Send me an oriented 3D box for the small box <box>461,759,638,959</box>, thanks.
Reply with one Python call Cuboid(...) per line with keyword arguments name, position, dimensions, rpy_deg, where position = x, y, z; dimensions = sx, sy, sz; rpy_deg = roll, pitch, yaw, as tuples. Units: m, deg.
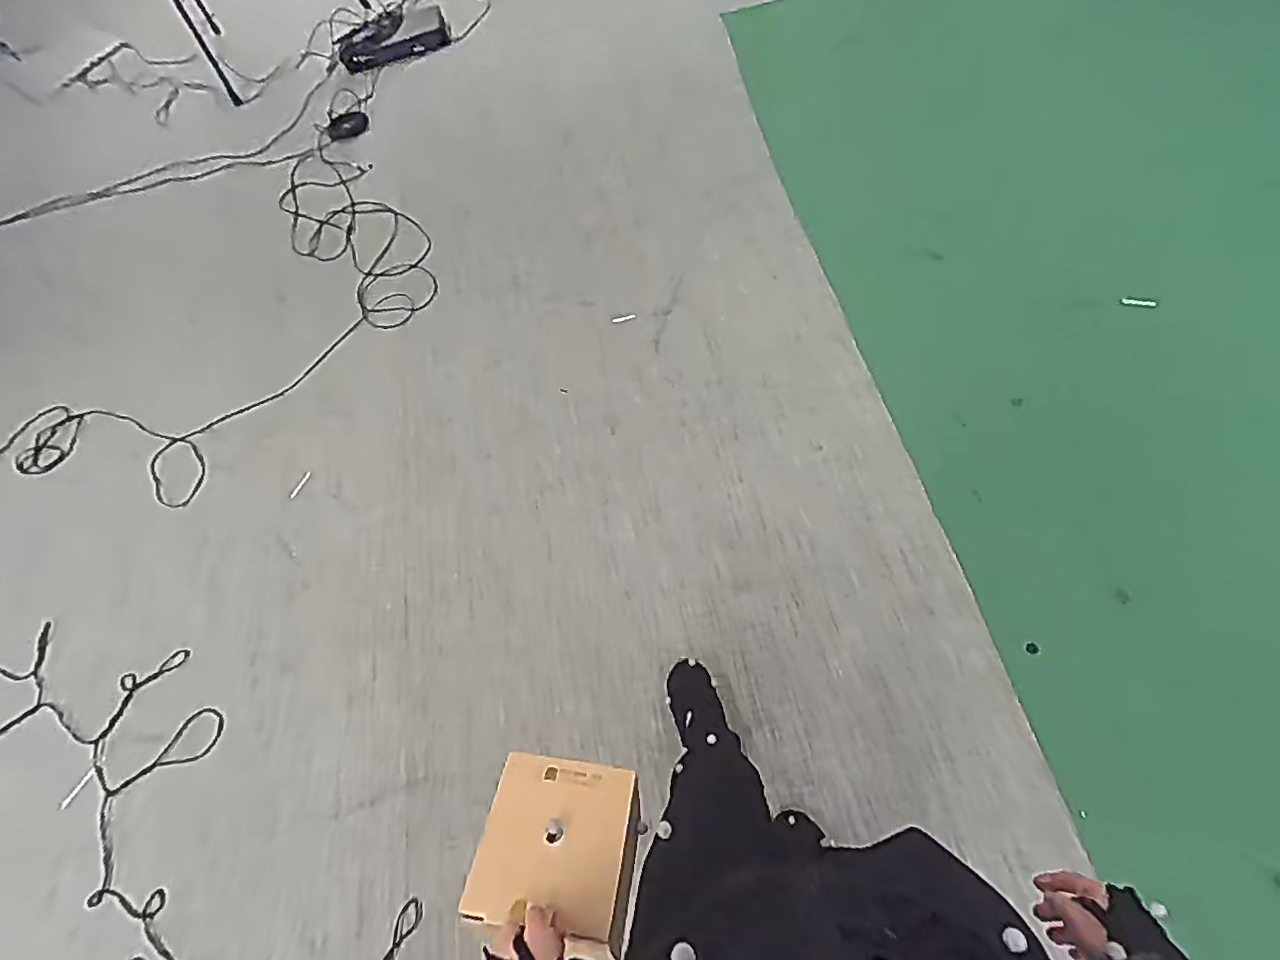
Cuboid(name="small box", position=(-0.097, 0.470, 0.673), dimensions=(0.168, 0.179, 0.176), rpy_deg=(5, 43, 8))
